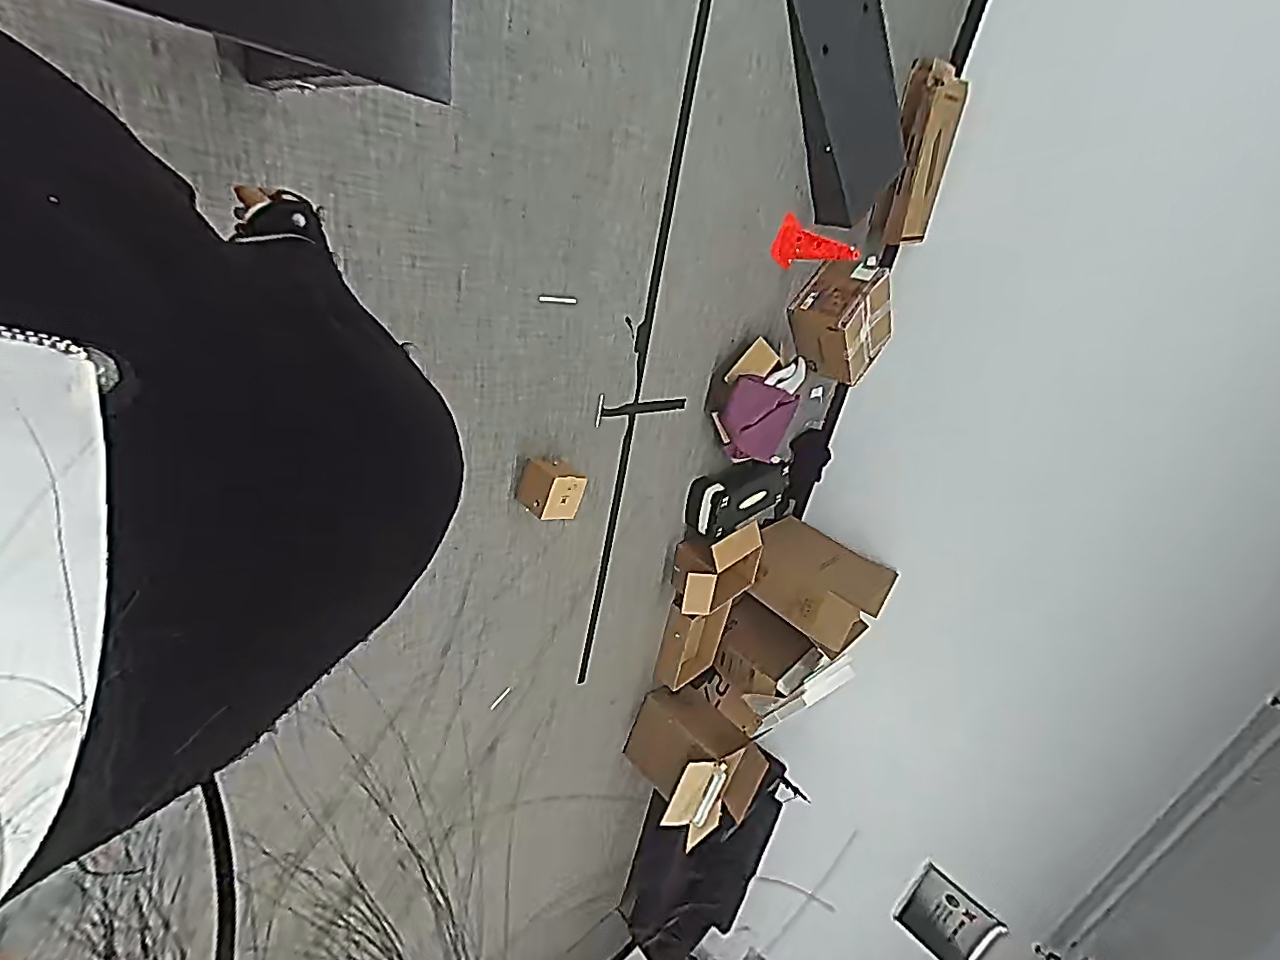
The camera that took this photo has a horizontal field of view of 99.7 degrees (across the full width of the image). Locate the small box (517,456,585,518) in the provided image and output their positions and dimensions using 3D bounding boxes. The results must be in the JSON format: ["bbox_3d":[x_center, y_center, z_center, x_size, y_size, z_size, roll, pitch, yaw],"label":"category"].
[{"bbox_3d":[-0.340,0.026,2.034,0.168,0.176,0.179,2,113,-50],"label":"small box"}]
